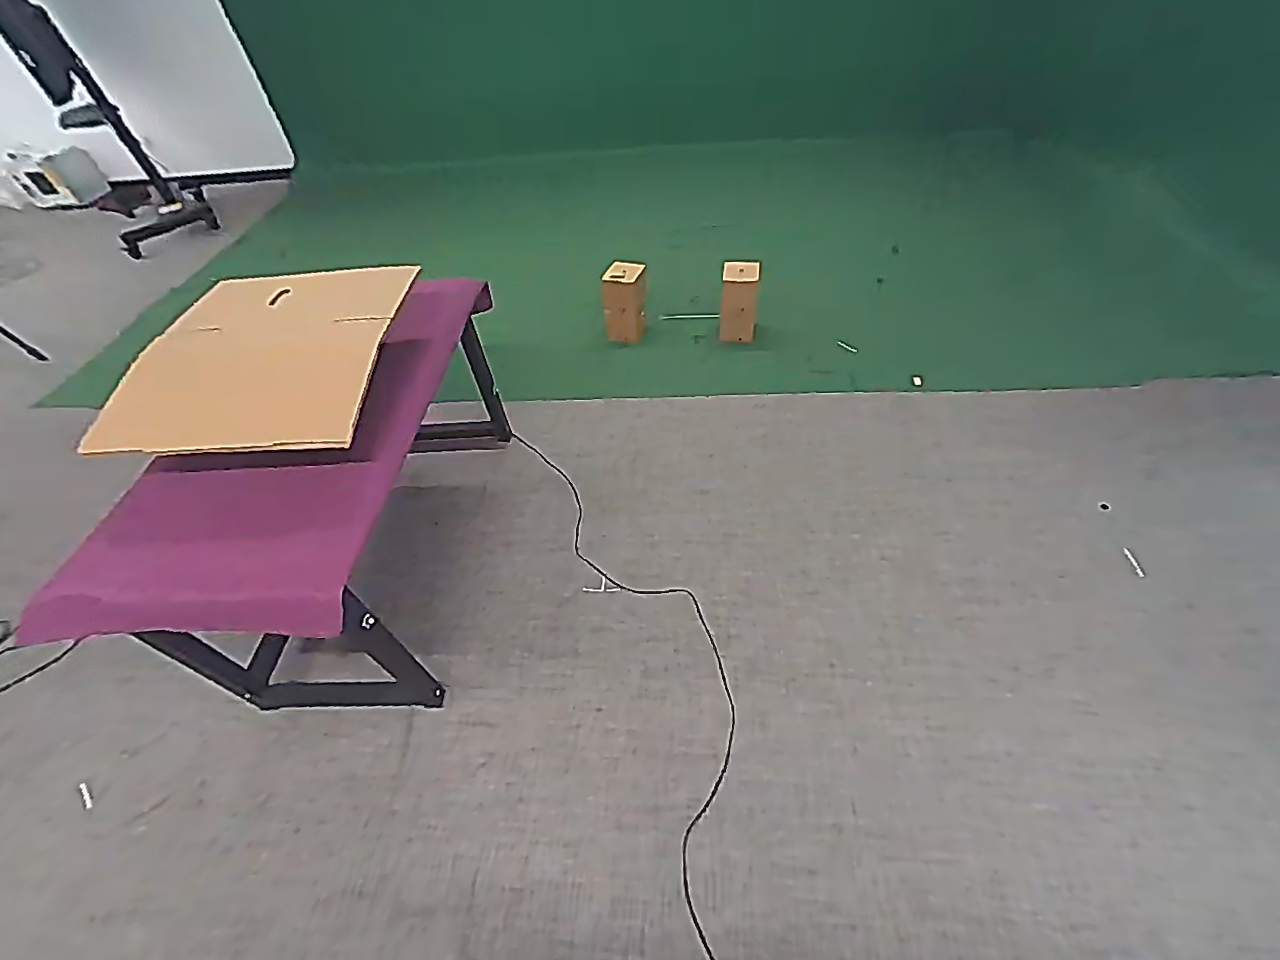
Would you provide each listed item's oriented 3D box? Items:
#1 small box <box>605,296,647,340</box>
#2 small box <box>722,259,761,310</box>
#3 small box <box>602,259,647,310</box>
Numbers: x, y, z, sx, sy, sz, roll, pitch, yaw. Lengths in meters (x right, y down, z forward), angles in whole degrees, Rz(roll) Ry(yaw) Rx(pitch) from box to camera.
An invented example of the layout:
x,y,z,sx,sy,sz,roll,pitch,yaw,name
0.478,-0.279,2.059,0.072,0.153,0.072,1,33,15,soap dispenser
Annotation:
x,y,z,sx,sy,sz,roll,pitch,yaw,name
-0.066,-0.847,2.773,0.168,0.176,0.179,11,53,15,small box
0.479,-0.931,2.570,0.168,0.176,0.179,5,50,9,small box
-0.069,-0.959,2.653,0.168,0.176,0.179,14,52,16,small box
